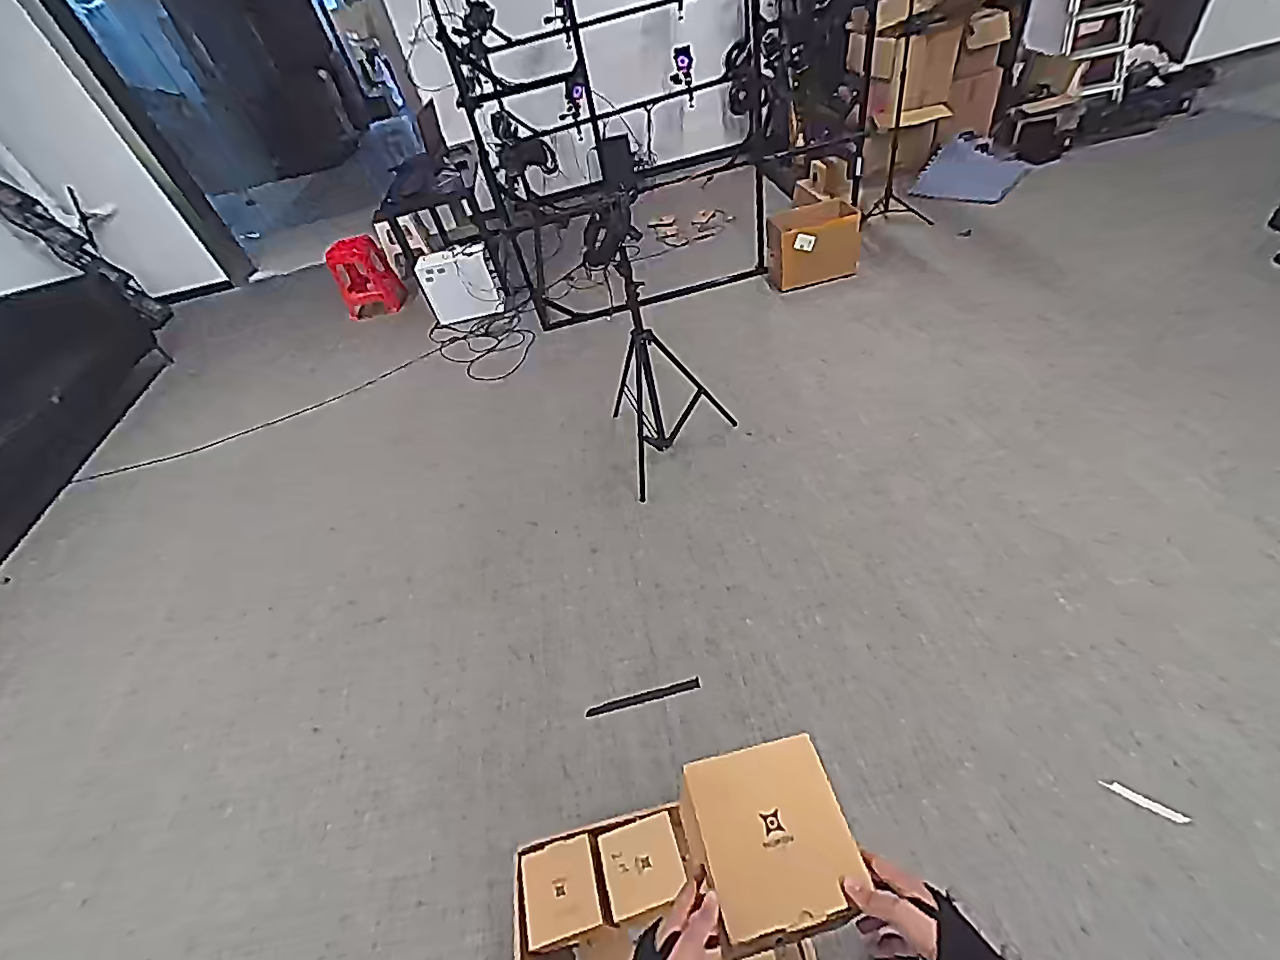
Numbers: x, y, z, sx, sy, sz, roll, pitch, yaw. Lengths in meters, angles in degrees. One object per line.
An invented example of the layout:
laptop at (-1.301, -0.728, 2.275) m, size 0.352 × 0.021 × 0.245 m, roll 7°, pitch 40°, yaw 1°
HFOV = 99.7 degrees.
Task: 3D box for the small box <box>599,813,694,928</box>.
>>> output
small box at (0.019, 0.905, 1.253) m, size 0.179 × 0.176 × 0.168 m, roll -18°, pitch 45°, yaw -4°

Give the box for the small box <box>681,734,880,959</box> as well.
small box at (0.149, 0.443, 0.652) m, size 0.168 × 0.176 × 0.179 m, roll -11°, pitch 46°, yaw -8°
